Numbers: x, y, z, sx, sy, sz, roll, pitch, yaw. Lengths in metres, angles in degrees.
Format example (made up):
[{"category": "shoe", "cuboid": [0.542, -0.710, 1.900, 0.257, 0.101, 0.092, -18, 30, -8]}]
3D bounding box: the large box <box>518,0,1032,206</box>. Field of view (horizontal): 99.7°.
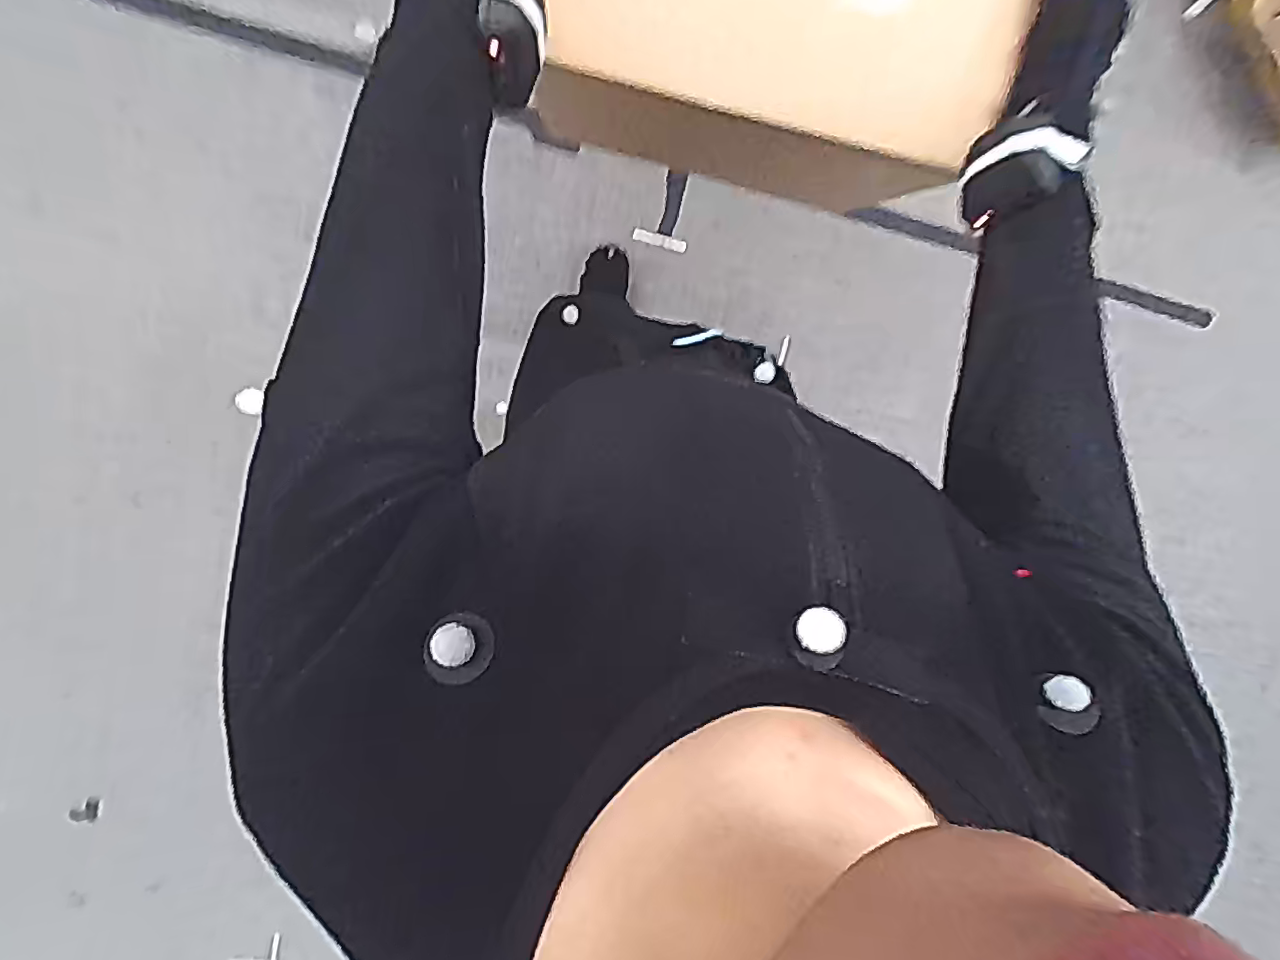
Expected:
[{"category": "large box", "cuboid": [0.118, -0.500, 0.537, 0.408, 0.320, 0.320, 11, 111, -7]}]
